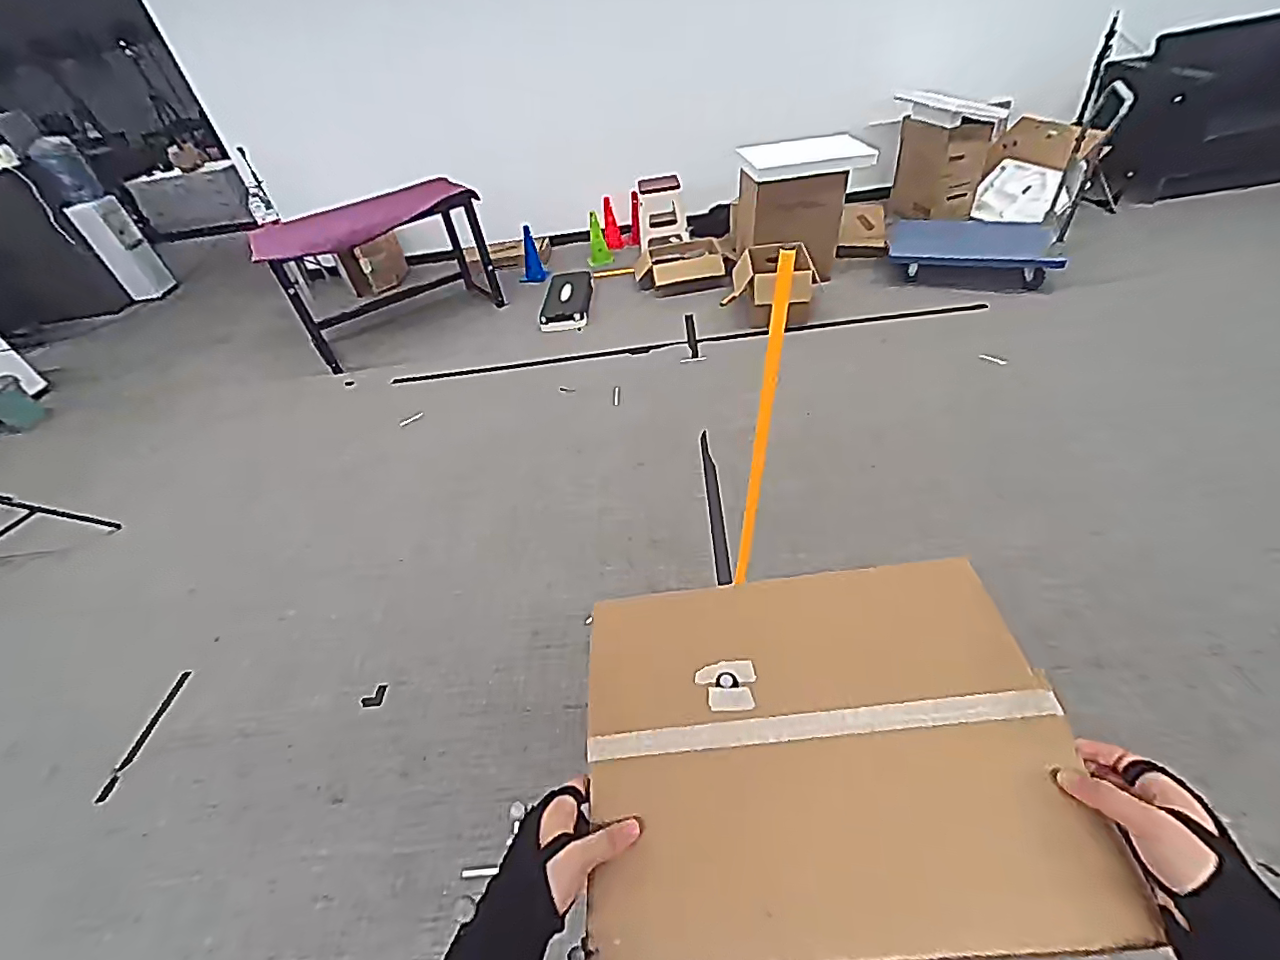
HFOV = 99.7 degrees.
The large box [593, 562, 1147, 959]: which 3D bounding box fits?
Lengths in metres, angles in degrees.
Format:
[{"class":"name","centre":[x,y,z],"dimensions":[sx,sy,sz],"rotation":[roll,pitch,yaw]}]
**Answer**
[{"class":"large box","centre":[0.181,0.329,0.600],"dimensions":[0.408,0.320,0.320],"rotation":[-9,46,7]}]
